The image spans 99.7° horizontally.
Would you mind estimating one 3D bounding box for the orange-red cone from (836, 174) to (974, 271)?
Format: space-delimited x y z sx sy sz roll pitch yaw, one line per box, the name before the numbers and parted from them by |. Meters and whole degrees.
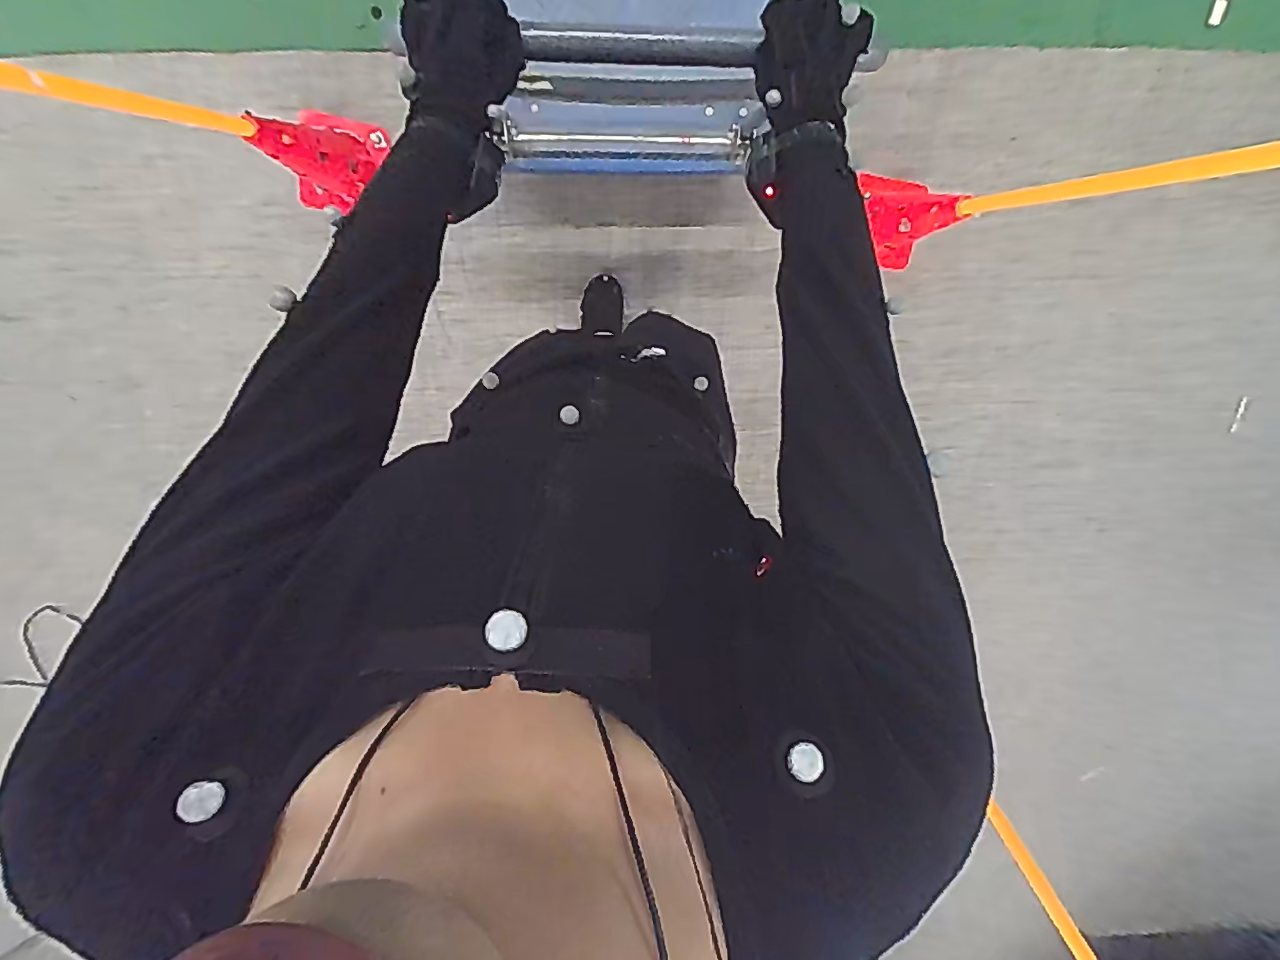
orange-red cone | 0.606 -0.572 1.179 0.198 0.360 0.199 9 111 -5
